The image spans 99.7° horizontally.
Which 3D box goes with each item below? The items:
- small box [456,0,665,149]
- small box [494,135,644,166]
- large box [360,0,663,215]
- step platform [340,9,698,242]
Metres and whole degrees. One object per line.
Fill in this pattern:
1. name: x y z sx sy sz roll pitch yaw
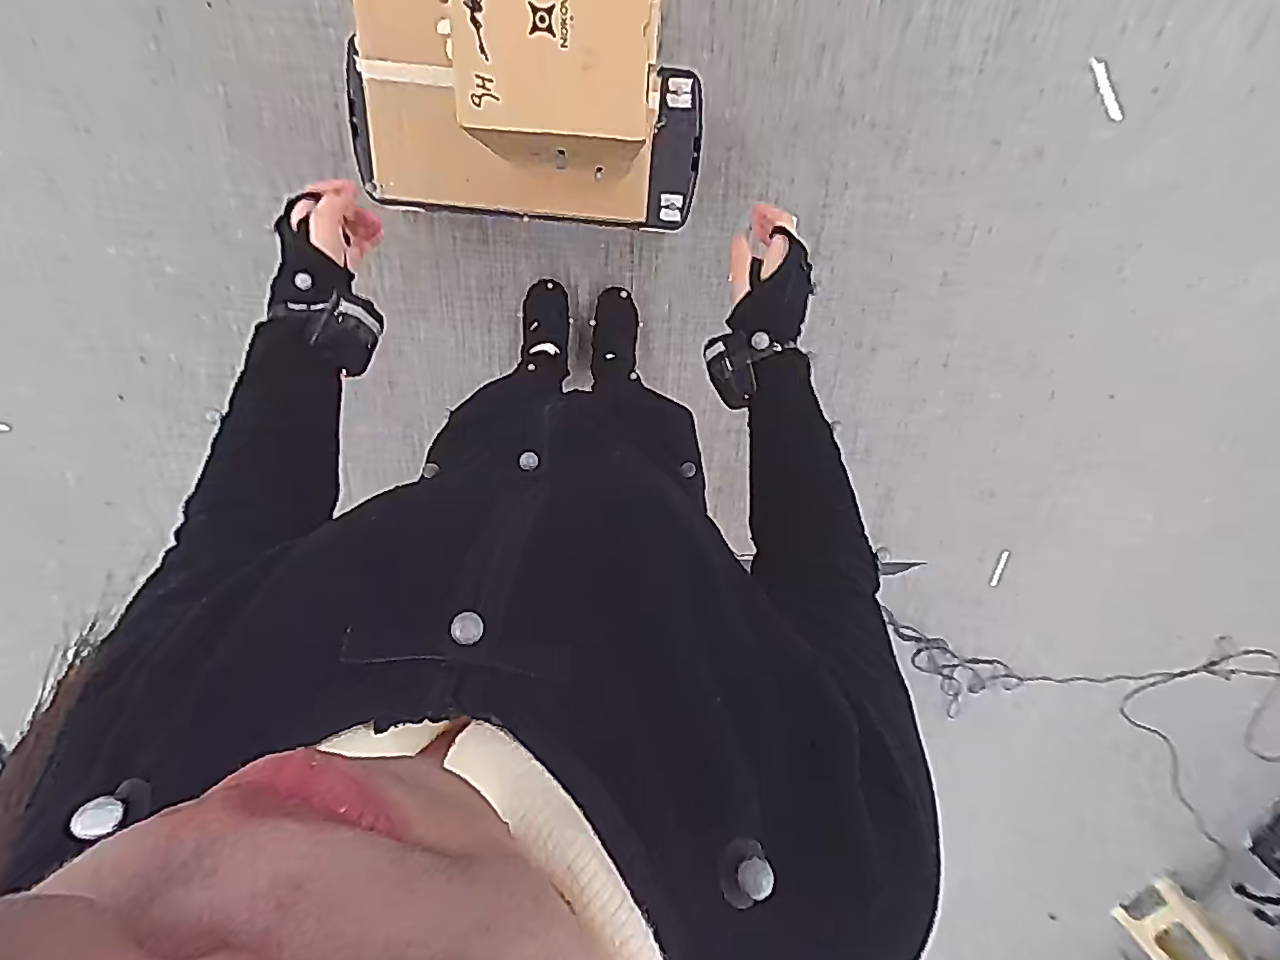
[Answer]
1. small box: -0.073 -0.430 0.524 0.179 0.176 0.168 1 115 -6
2. small box: -0.082 -0.498 0.673 0.179 0.176 0.168 3 115 -5
3. large box: -0.178 -0.615 0.880 0.408 0.320 0.320 3 114 -5
4. step platform: -0.227 -0.693 1.103 0.684 0.204 0.286 7 114 -7
